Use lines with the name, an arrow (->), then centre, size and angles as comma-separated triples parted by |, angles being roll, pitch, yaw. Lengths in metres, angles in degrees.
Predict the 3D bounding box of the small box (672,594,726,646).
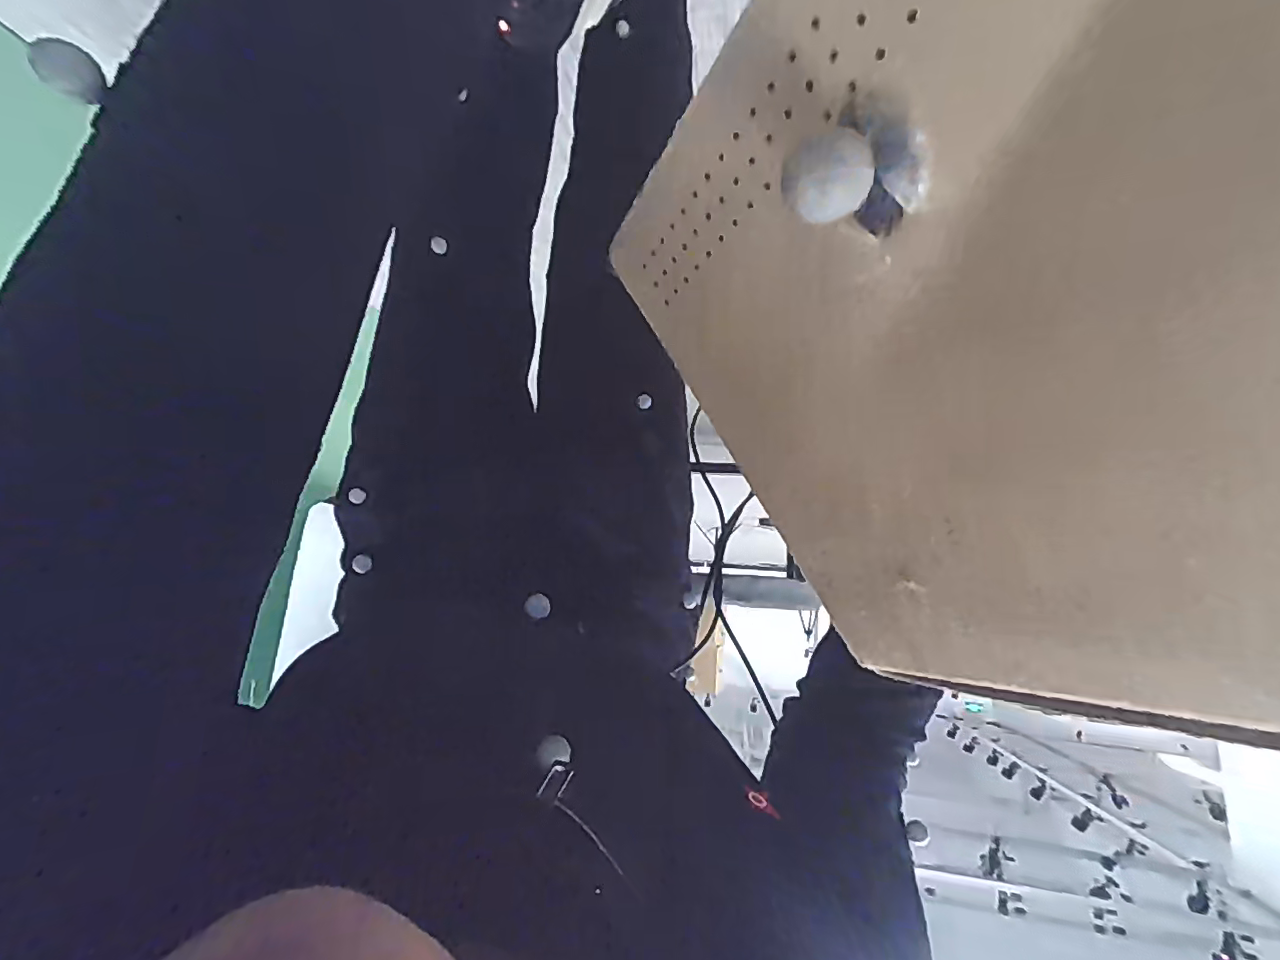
small box -> 0.228, 0.529, 2.057 | 0.168, 0.176, 0.179 | -1, 167, 21

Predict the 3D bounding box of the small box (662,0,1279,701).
small box -> 0.129, -0.069, 0.137 | 0.168, 0.176, 0.179 | -33, -177, -25

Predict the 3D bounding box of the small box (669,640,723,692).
small box -> 0.216, 0.690, 2.040 | 0.179, 0.176, 0.168 | 1, 167, 18
